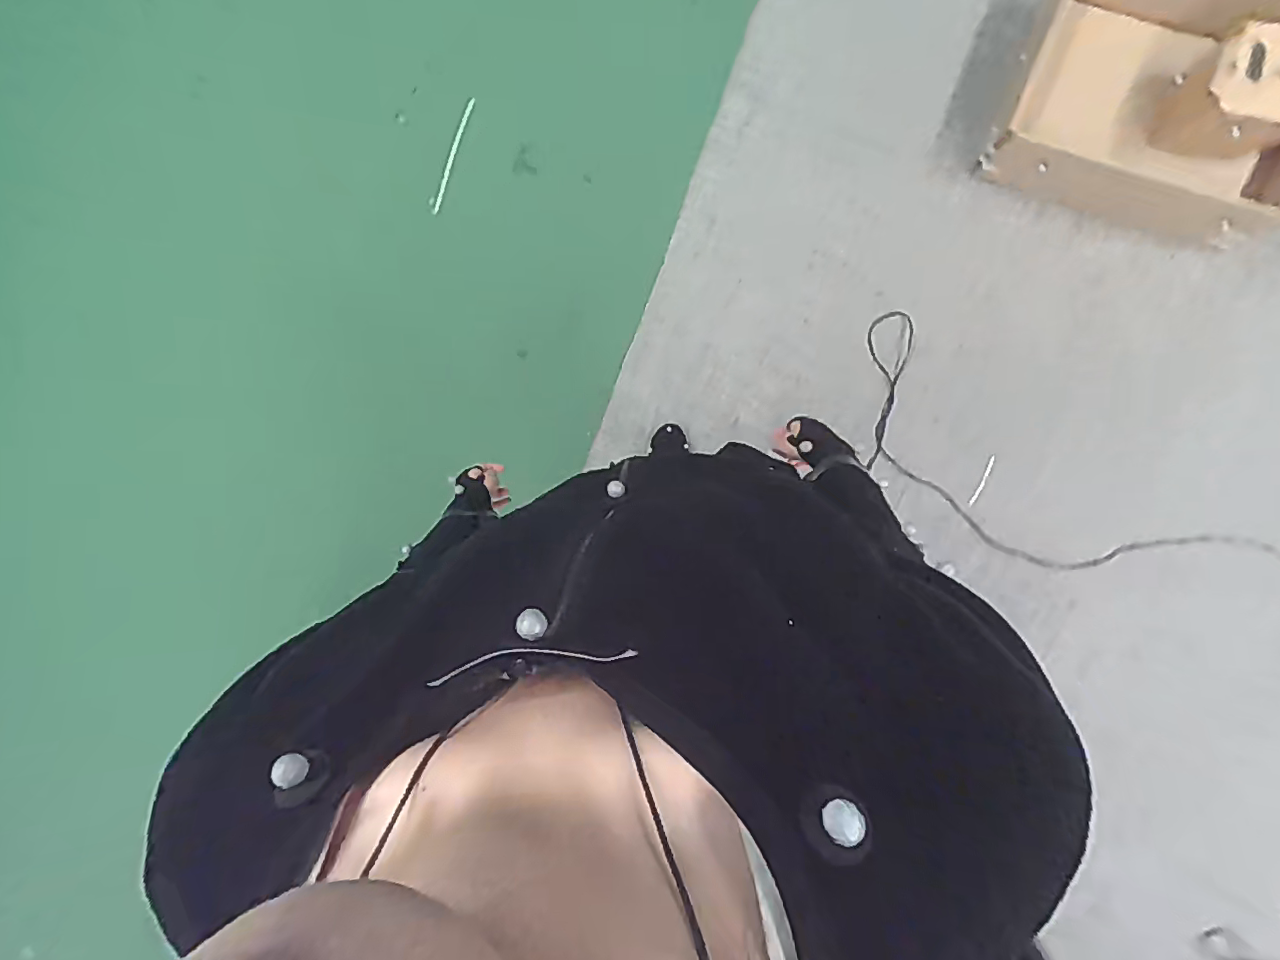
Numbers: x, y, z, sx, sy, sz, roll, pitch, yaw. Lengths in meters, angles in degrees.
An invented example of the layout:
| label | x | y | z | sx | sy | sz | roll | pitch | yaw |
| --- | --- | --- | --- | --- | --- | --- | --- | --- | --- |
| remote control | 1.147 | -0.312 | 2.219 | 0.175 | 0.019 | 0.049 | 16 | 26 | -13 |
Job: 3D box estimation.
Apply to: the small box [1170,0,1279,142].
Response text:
| label | x | y | z | sx | sy | sz | roll | pitch | yaw |
| --- | --- | --- | --- | --- | --- | --- | --- | --- | --- |
| small box | 1.266 | -0.828 | 1.111 | 0.179 | 0.176 | 0.168 | 14 | 99 | 7 |
